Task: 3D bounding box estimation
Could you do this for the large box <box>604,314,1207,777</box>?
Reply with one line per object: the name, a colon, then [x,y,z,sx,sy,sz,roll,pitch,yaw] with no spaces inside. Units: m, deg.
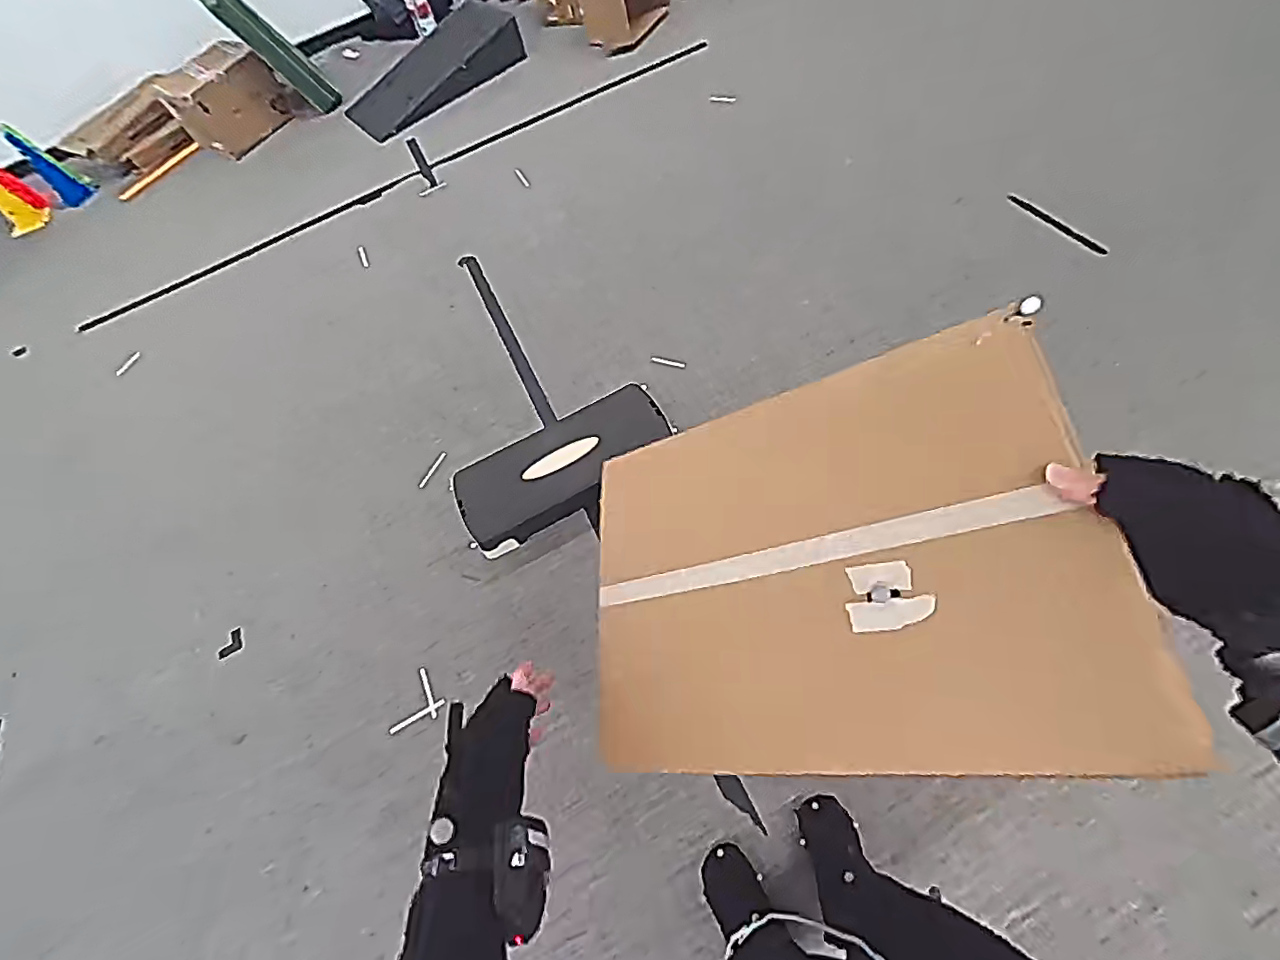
large box: [0.212,0.117,0.555,0.408,0.320,0.320,-19,59,30]
